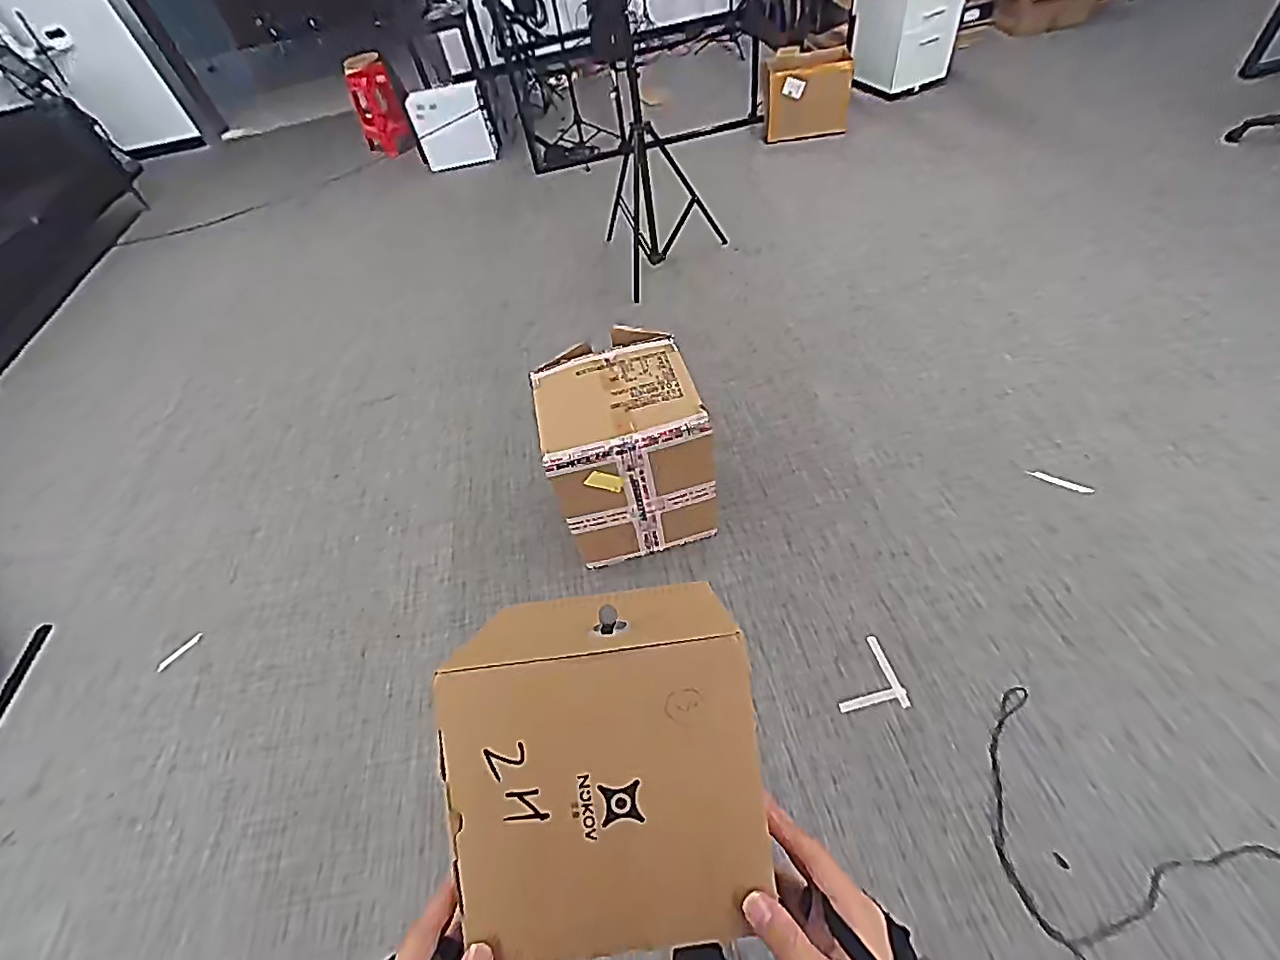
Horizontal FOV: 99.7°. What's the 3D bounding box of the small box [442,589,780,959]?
[{"bbox_3d":[-0.017,0.180,0.383,0.179,0.176,0.168,-8,89,0],"label":"small box"}]
